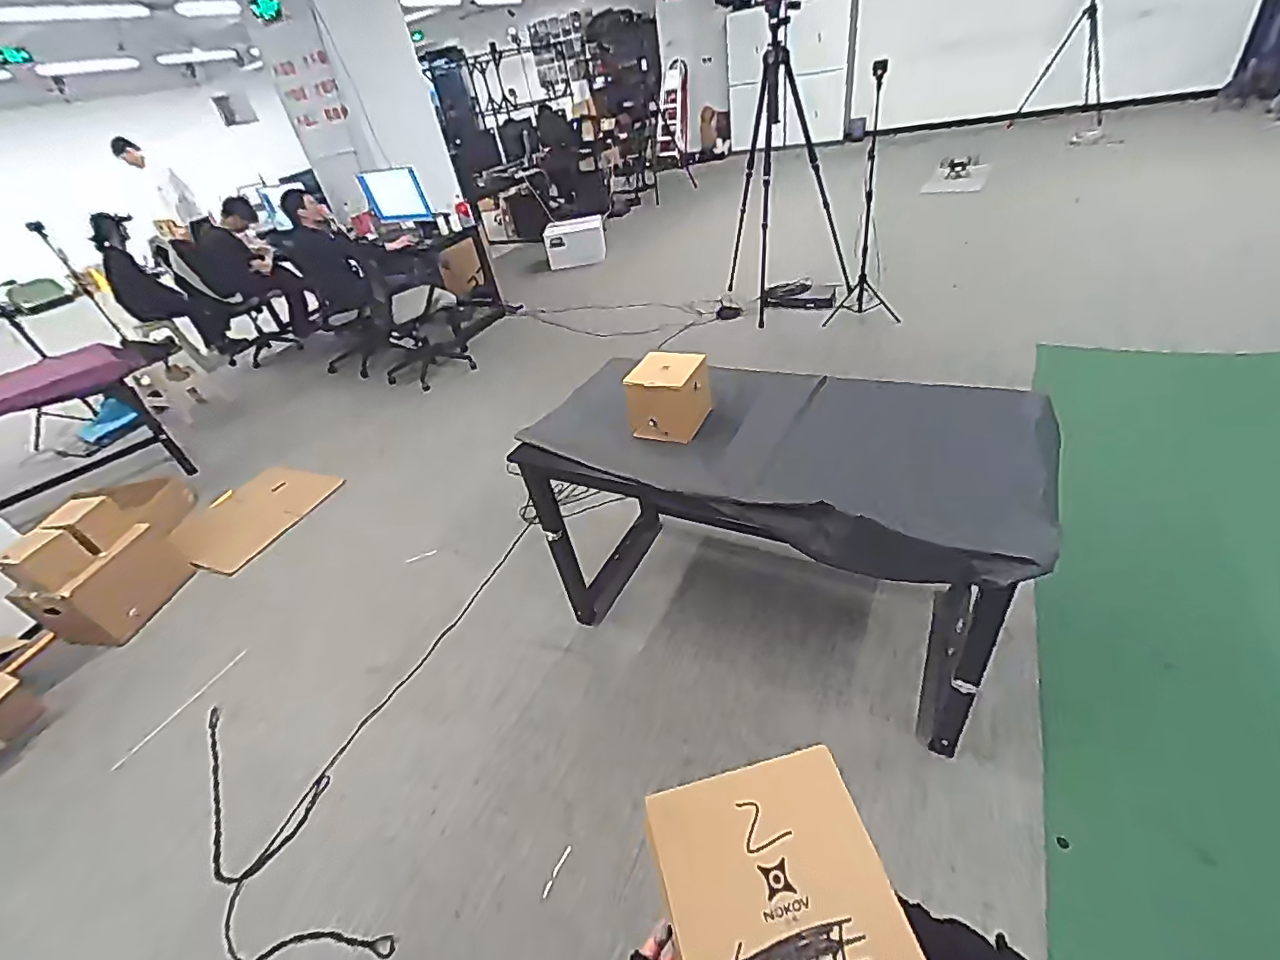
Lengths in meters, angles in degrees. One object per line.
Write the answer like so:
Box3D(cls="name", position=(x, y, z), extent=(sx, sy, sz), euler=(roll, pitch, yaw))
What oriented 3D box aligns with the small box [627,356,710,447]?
Box3D(cls="small box", position=(0.083, -0.211, 1.443), extent=(0.168, 0.176, 0.179), euler=(10, 43, 25))
